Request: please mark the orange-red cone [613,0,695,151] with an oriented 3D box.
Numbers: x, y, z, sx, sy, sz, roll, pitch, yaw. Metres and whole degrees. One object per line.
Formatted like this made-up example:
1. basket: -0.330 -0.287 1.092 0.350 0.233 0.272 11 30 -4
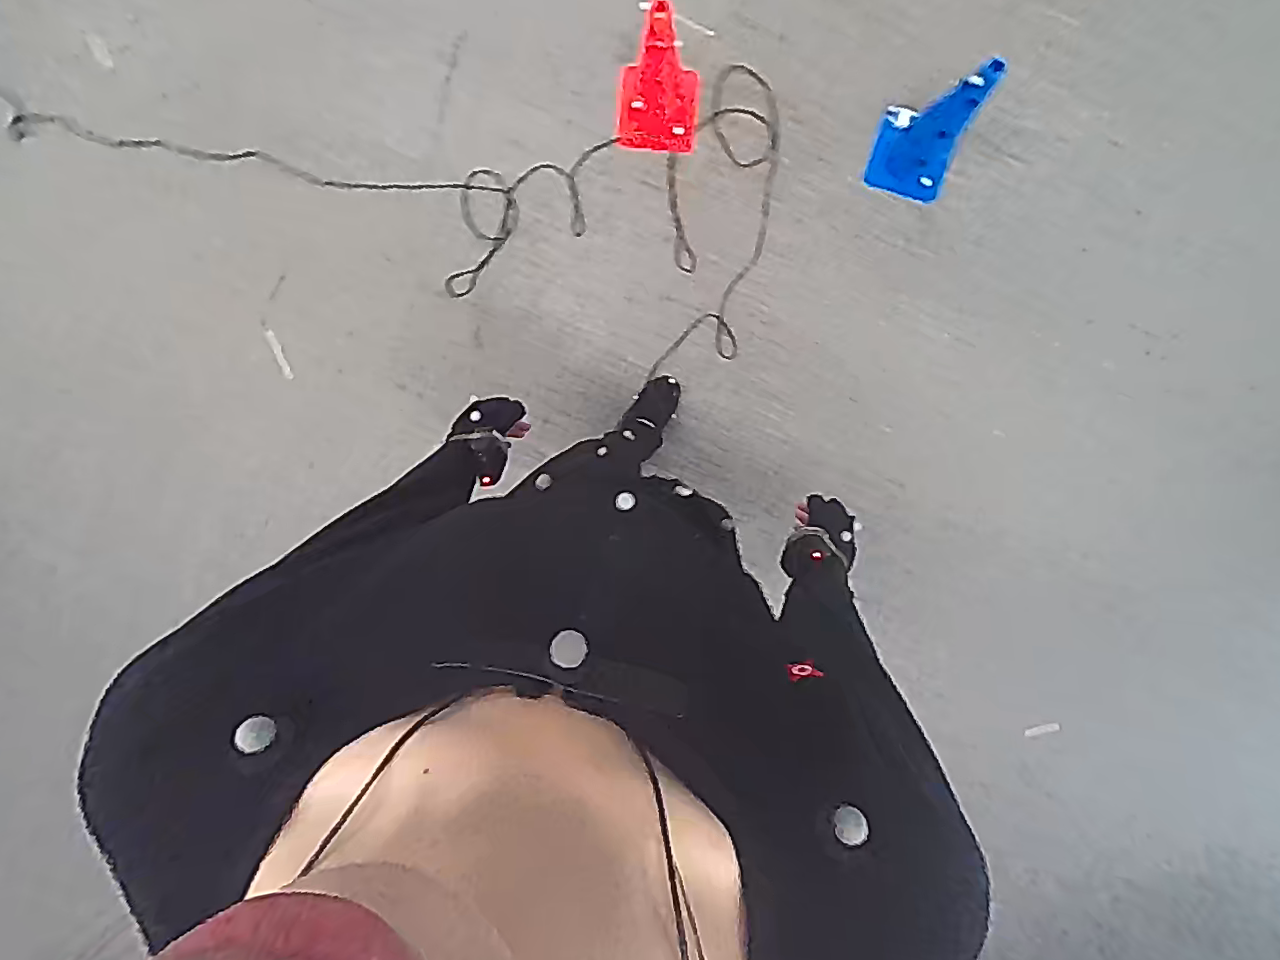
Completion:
1. orange-red cone: 0.034 -0.936 1.210 0.198 0.360 0.199 5 95 0
